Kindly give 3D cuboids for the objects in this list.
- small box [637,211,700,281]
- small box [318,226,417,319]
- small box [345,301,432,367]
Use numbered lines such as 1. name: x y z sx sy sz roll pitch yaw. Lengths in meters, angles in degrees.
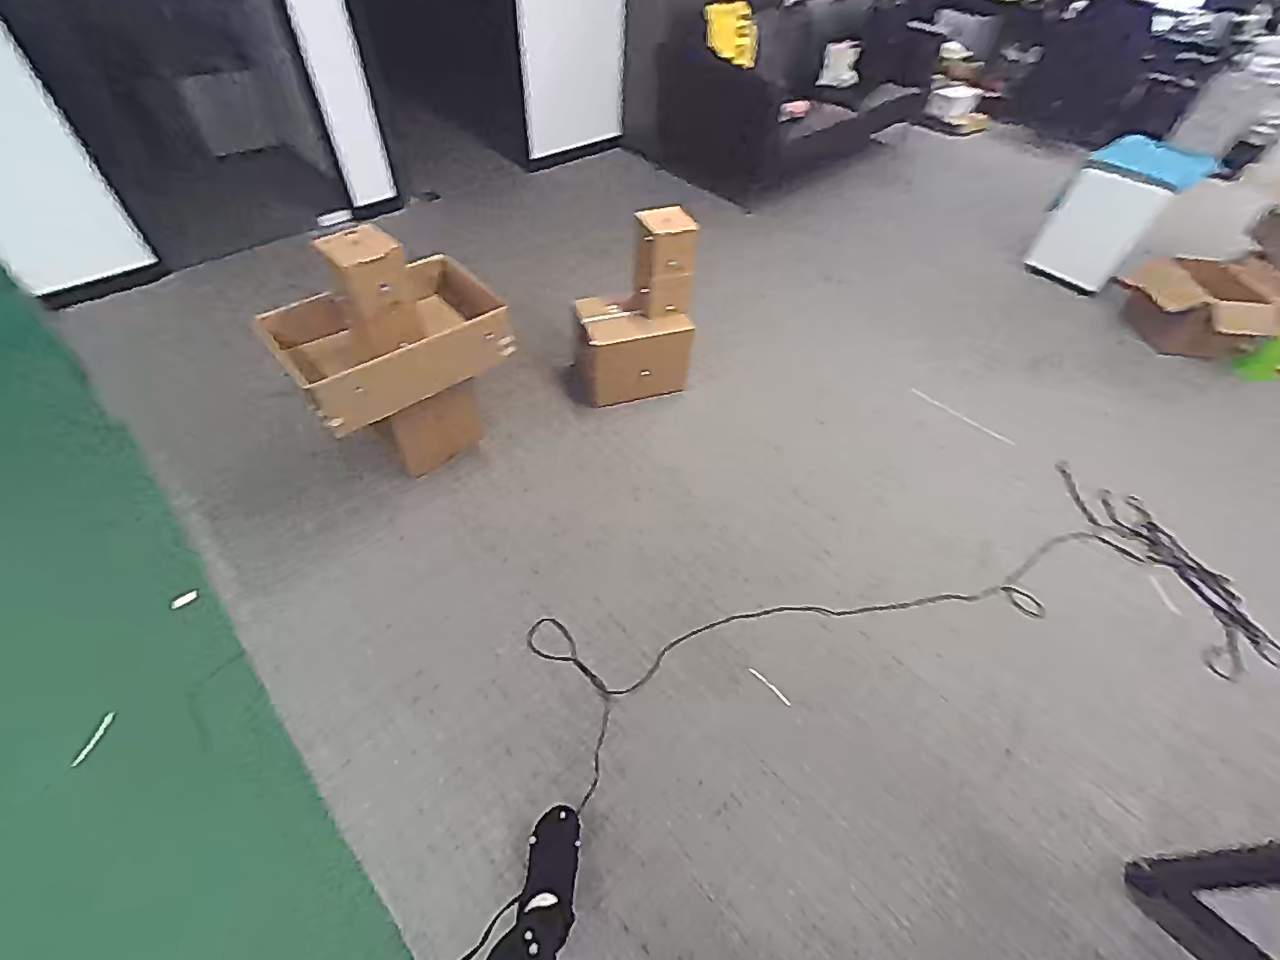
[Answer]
1. small box: 0.097 -0.851 1.969 0.168 0.176 0.179 -17 54 -18
2. small box: -0.759 -0.577 1.523 0.179 0.176 0.168 38 57 23
3. small box: -0.767 -0.475 1.651 0.168 0.176 0.179 -35 62 -28
